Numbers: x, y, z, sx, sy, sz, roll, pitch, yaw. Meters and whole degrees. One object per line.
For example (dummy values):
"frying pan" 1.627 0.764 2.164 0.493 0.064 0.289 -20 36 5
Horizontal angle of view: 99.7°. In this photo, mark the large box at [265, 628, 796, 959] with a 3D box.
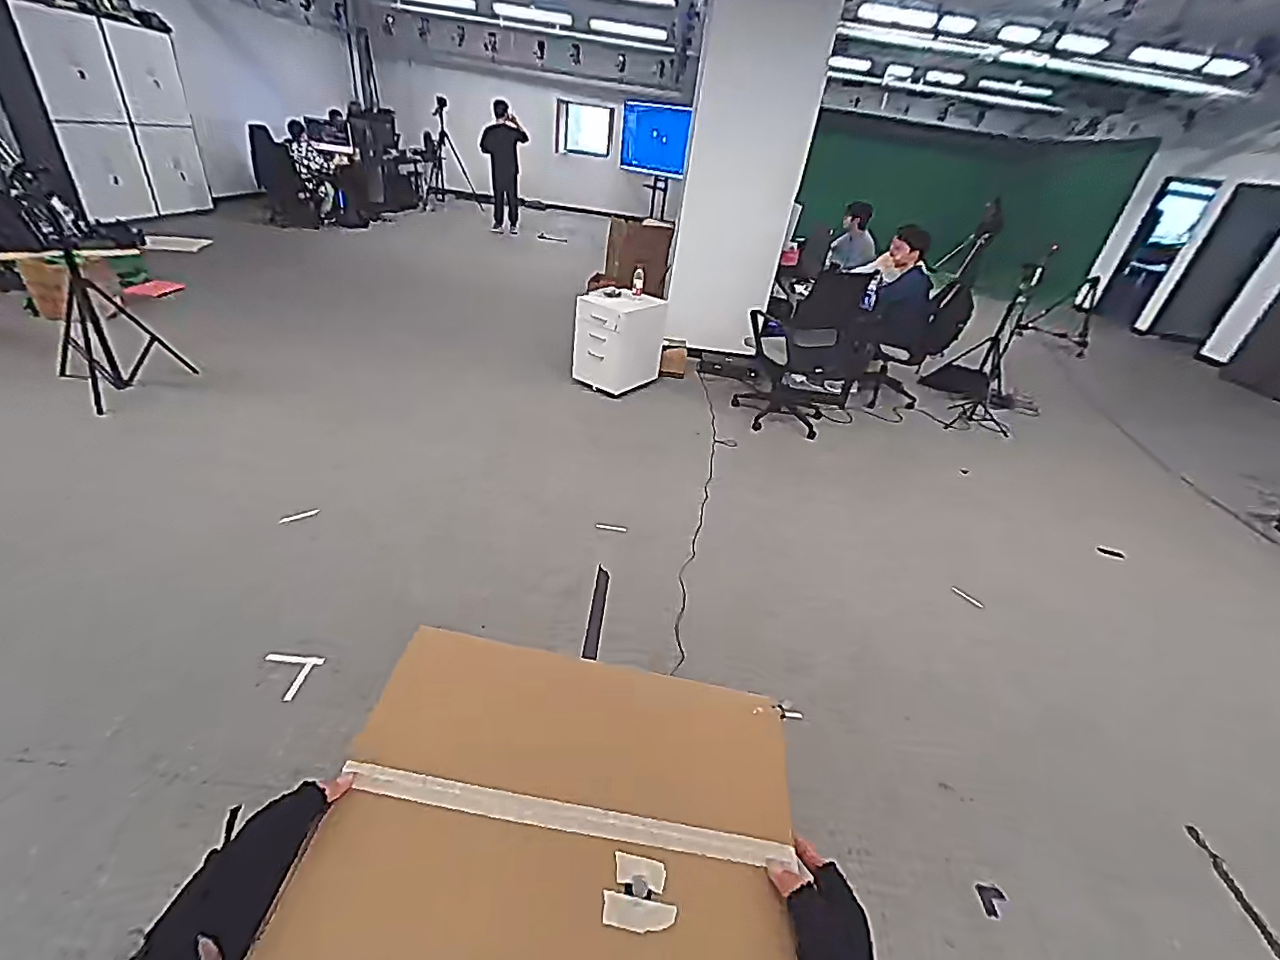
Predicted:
"large box" -0.086 0.410 0.585 0.408 0.320 0.320 12 40 -1
